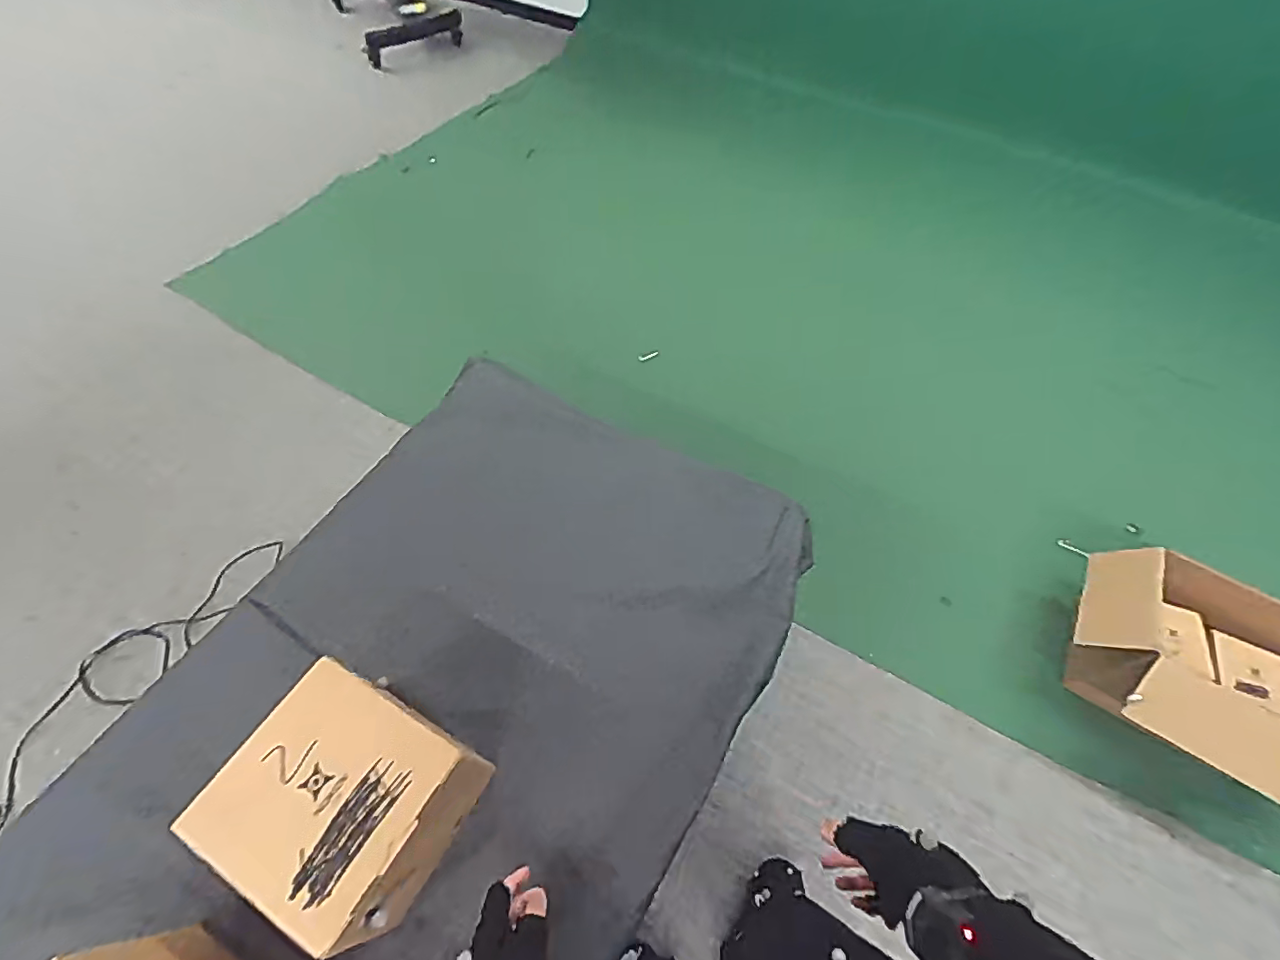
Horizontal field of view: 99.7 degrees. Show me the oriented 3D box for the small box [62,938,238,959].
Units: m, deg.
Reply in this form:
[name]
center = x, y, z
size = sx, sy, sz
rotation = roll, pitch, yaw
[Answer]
[small box]
center = -0.404, 0.499, 0.419
size = 0.179, 0.176, 0.168
rotation = 25, 59, 12
